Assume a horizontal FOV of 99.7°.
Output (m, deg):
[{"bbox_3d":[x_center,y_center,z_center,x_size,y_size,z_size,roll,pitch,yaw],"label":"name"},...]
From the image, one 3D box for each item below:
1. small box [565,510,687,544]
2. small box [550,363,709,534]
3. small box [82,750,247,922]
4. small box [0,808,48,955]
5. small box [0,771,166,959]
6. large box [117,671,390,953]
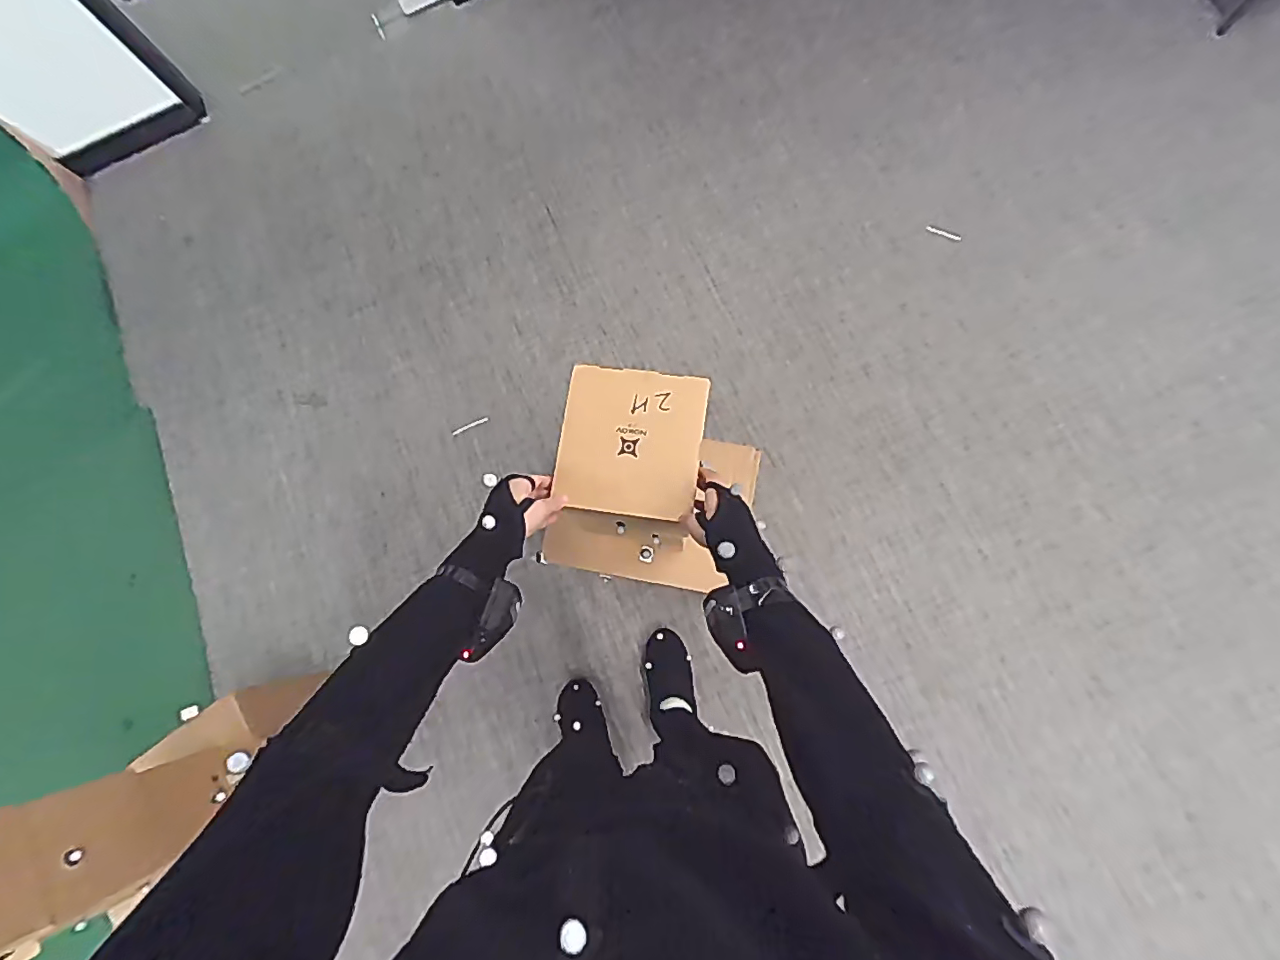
[{"bbox_3d":[-0.004,0.005,0.862,0.179,0.176,0.168,8,79,6],"label":"small box"},{"bbox_3d":[-0.005,-0.030,0.700,0.168,0.176,0.179,8,79,5],"label":"small box"},{"bbox_3d":[-0.876,0.631,0.982,0.179,0.176,0.168,-34,78,-2],"label":"small box"},{"bbox_3d":[-0.908,0.554,0.665,0.168,0.176,0.179,-34,79,-2],"label":"small box"},{"bbox_3d":[-0.887,0.588,0.825,0.168,0.176,0.179,-32,78,-2],"label":"small box"},{"bbox_3d":[-0.872,0.699,1.219,0.408,0.320,0.320,-38,76,-1],"label":"large box"}]
